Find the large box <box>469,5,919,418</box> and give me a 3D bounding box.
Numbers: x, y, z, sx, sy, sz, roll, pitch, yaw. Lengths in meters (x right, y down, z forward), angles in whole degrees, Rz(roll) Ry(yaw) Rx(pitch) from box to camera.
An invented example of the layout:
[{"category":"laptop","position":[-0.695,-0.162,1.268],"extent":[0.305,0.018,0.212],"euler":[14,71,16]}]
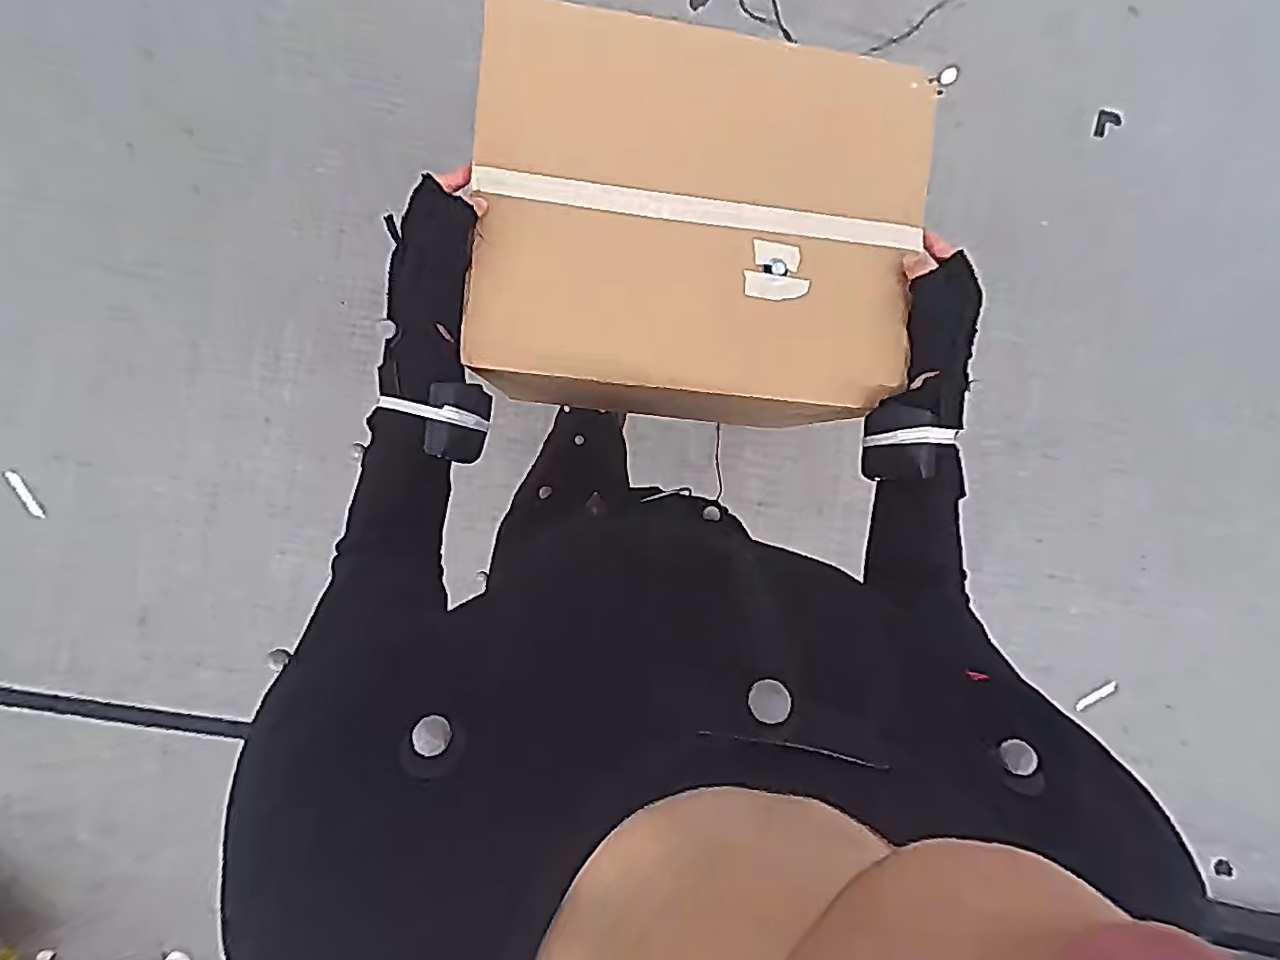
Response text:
[{"category":"large box","position":[0.037,-0.250,0.639],"extent":[0.408,0.320,0.320],"euler":[5,94,-7]}]
